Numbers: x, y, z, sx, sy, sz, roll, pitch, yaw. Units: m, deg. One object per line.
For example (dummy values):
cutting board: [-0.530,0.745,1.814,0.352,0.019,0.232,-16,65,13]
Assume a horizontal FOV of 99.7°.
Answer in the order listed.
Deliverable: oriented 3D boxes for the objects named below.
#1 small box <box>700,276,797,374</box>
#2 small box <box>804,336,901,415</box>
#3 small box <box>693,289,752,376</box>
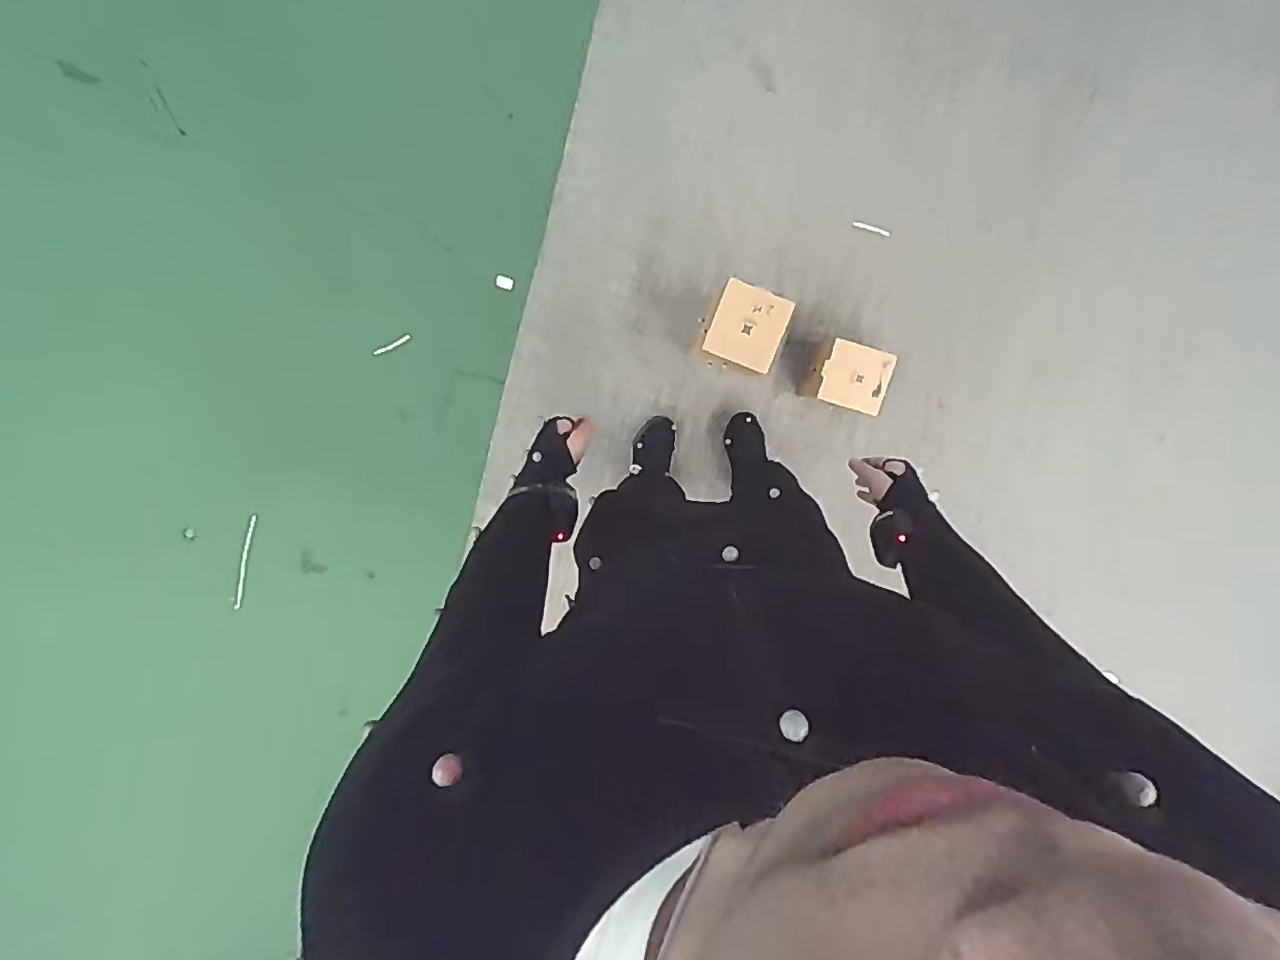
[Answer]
small box: [0.254,-0.366,1.315,0.168,0.176,0.179,22,98,-4]
small box: [0.575,-0.283,1.492,0.179,0.176,0.168,17,99,-1]
small box: [0.250,-0.393,1.478,0.168,0.176,0.179,20,98,-3]
